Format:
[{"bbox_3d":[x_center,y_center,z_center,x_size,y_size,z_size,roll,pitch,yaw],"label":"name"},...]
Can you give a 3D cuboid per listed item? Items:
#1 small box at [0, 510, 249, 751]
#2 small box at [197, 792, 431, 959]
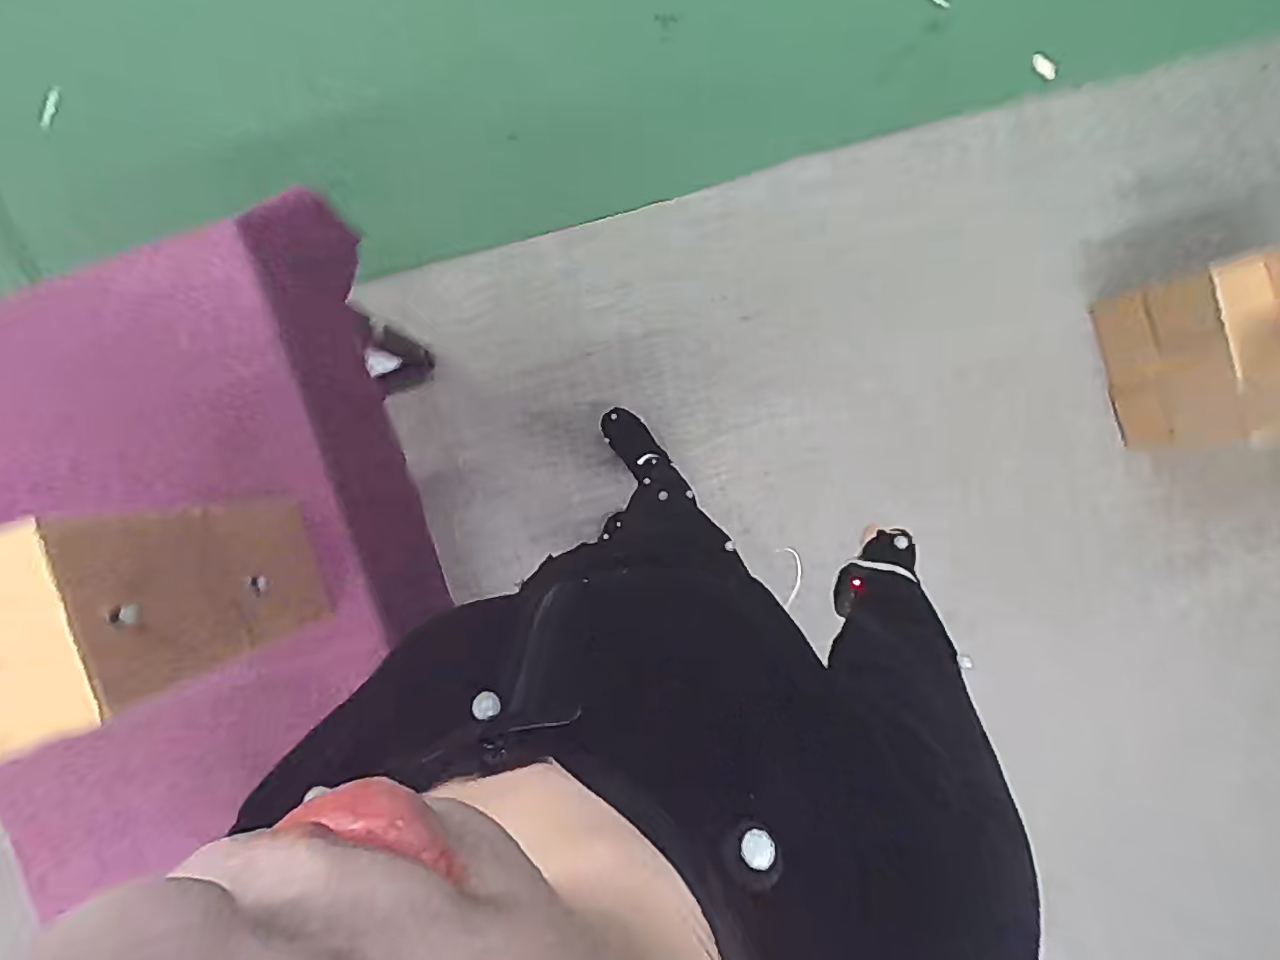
[{"bbox_3d":[-0.537,0.134,0.527,0.168,0.176,0.179,-18,92,0],"label":"small box"},{"bbox_3d":[-0.406,0.548,0.703,0.179,0.176,0.168,-17,92,1],"label":"small box"}]
